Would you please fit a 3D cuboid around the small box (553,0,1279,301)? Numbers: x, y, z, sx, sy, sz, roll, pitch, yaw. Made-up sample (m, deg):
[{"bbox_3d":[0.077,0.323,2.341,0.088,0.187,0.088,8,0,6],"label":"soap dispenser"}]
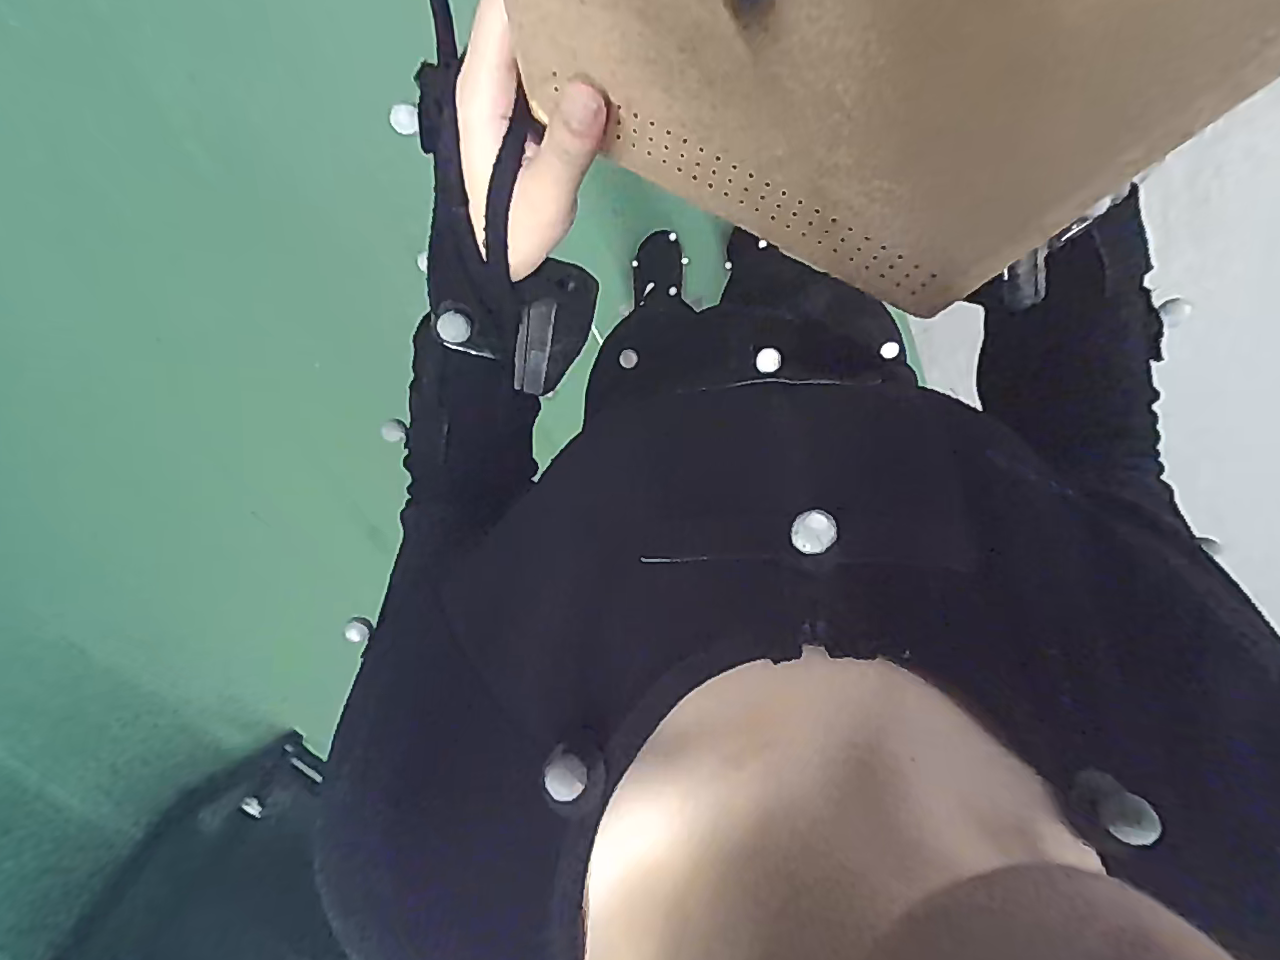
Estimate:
[{"bbox_3d":[0.080,-0.178,0.145,0.179,0.176,0.168,27,86,2],"label":"small box"}]
